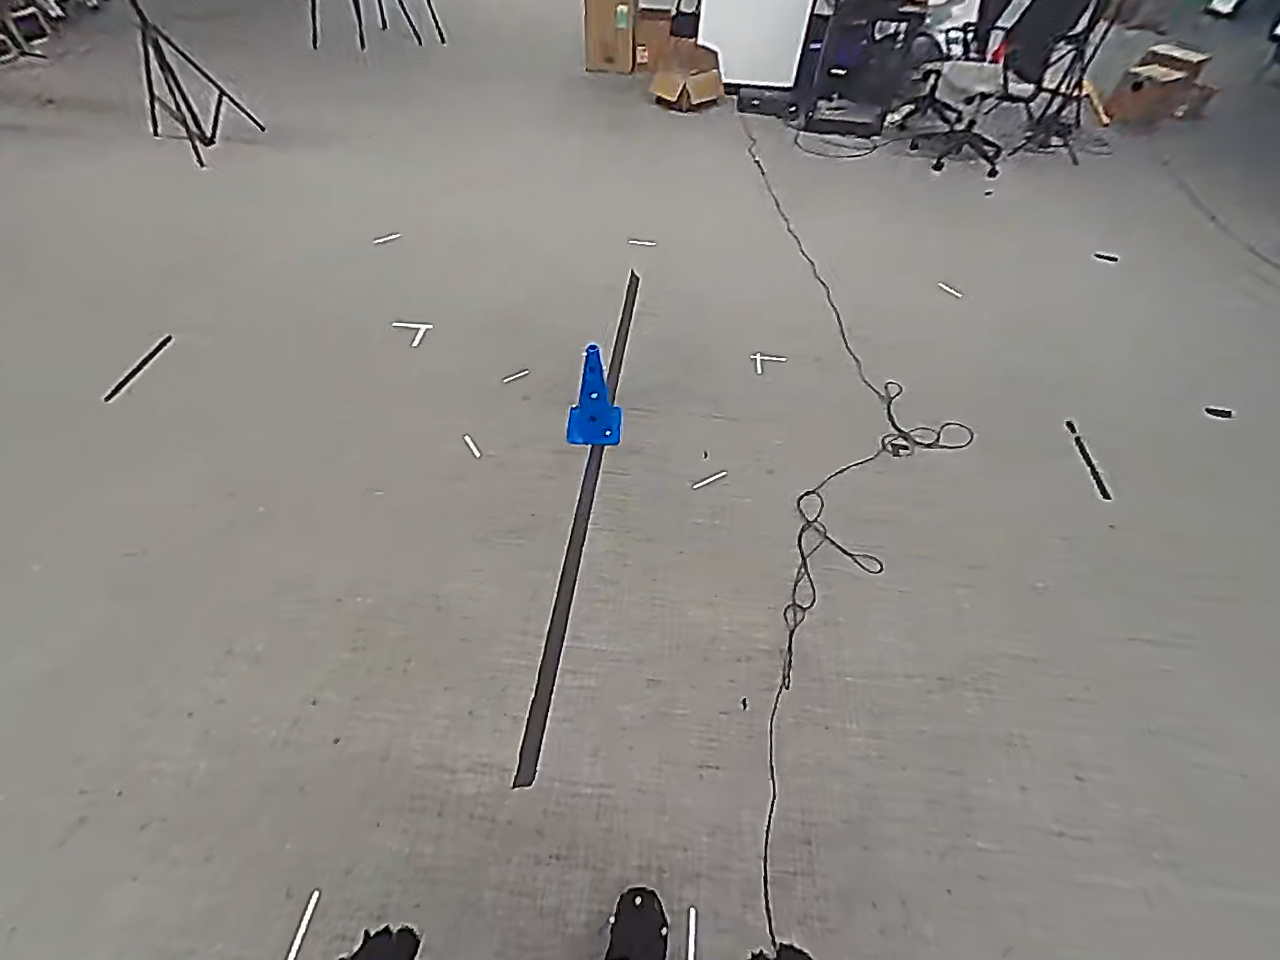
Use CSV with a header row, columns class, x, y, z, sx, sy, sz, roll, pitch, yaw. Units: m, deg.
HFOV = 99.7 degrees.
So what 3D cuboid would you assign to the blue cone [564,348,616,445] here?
class,x,y,z,sx,sy,sz,roll,pitch,yaw
blue cone,-0.181,-0.305,1.916,0.192,0.380,0.193,4,50,0
